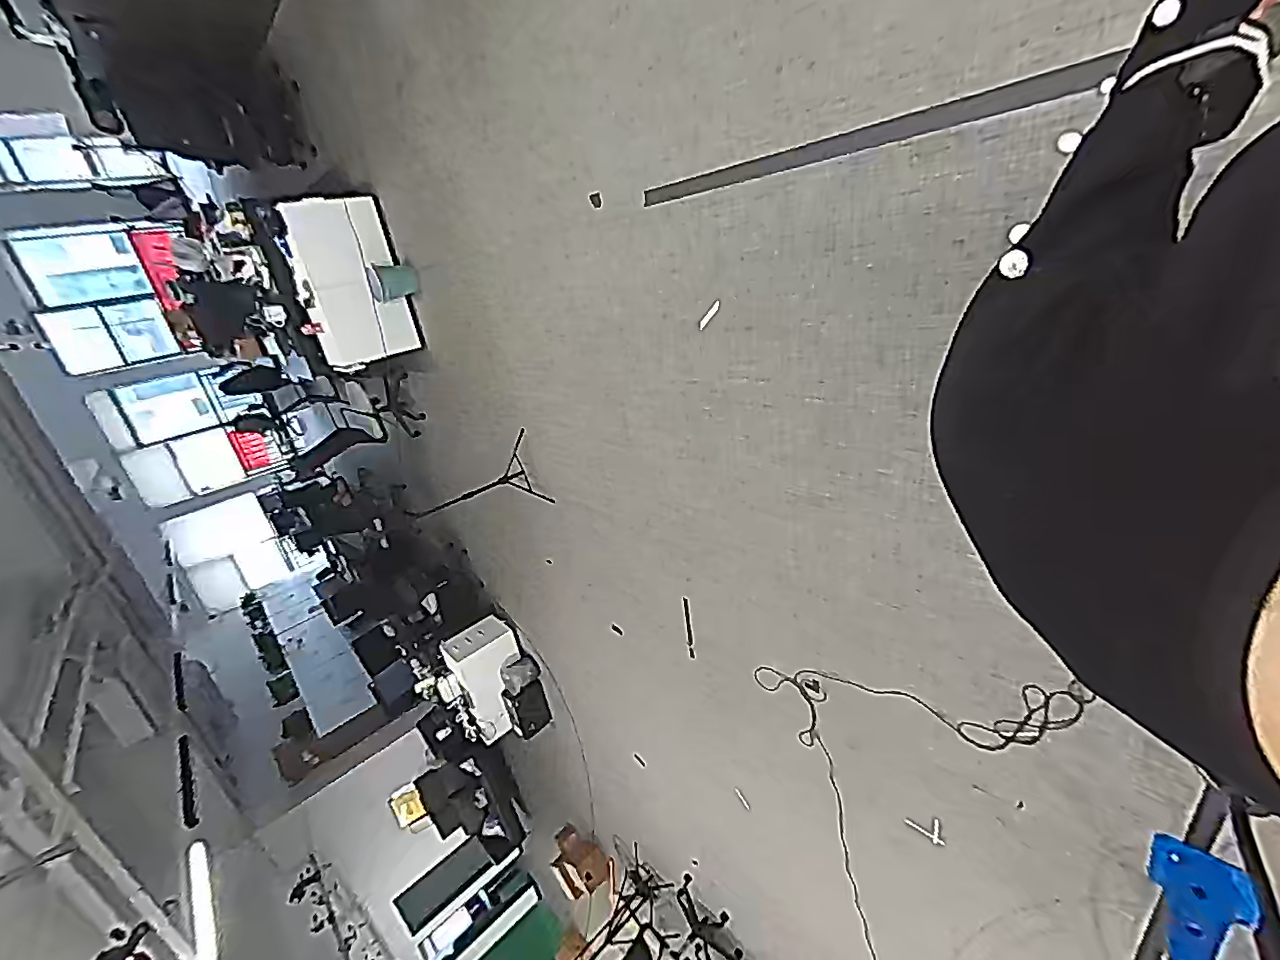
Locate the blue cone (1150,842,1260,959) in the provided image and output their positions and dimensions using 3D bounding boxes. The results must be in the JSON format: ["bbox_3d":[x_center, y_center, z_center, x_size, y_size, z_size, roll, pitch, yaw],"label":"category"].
[{"bbox_3d":[1.356,1.118,1.322,0.192,0.380,0.193,12,122,47],"label":"blue cone"}]
